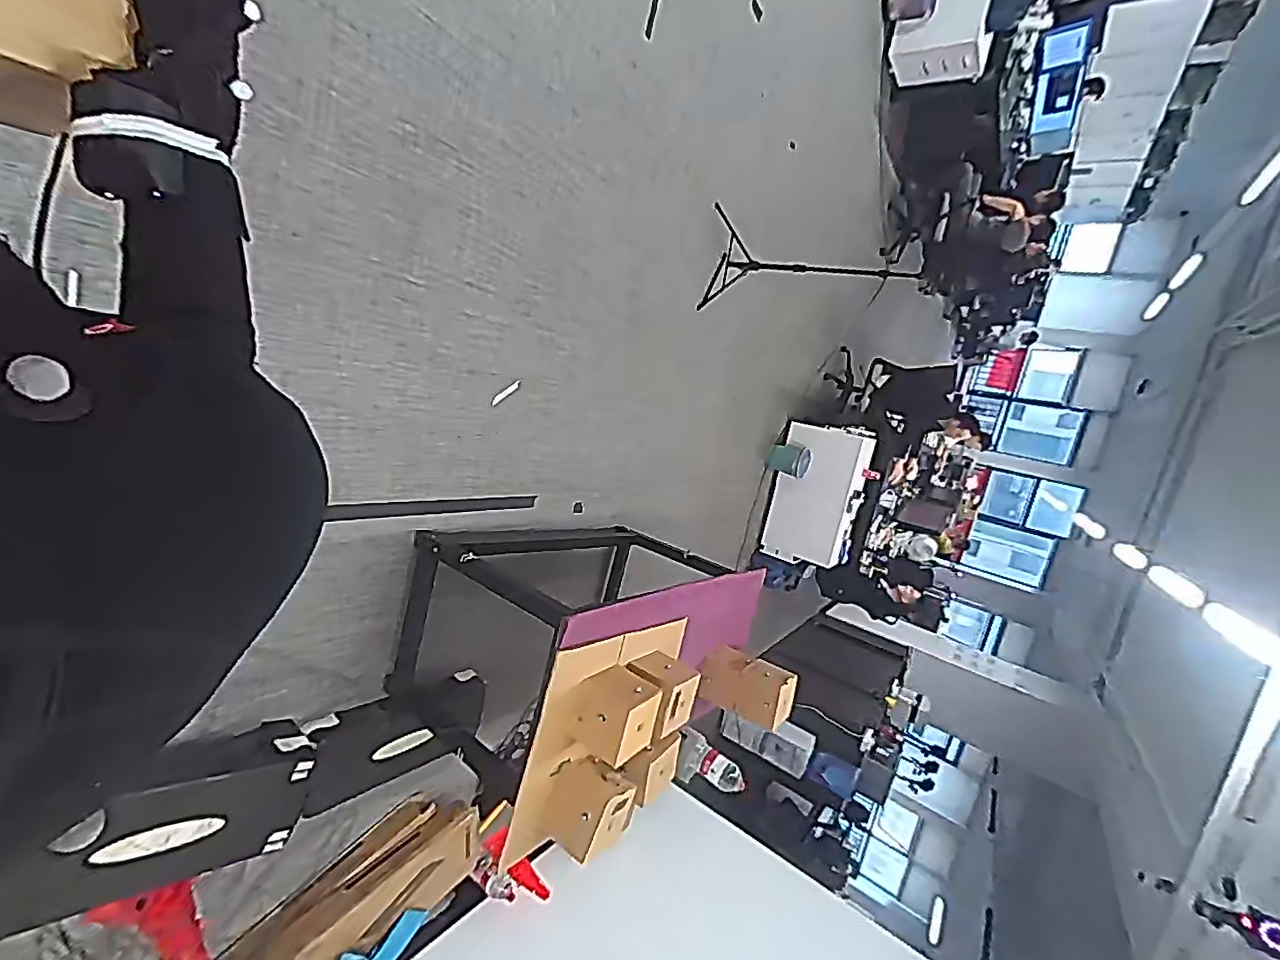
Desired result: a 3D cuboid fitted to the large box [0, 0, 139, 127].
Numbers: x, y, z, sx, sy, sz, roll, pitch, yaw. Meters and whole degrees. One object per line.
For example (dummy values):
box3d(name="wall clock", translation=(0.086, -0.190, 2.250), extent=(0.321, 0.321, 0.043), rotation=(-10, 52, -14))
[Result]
box3d(name="large box", translation=(-0.565, -0.442, 0.272), extent=(0.408, 0.320, 0.320), rotation=(-6, 112, -55))
